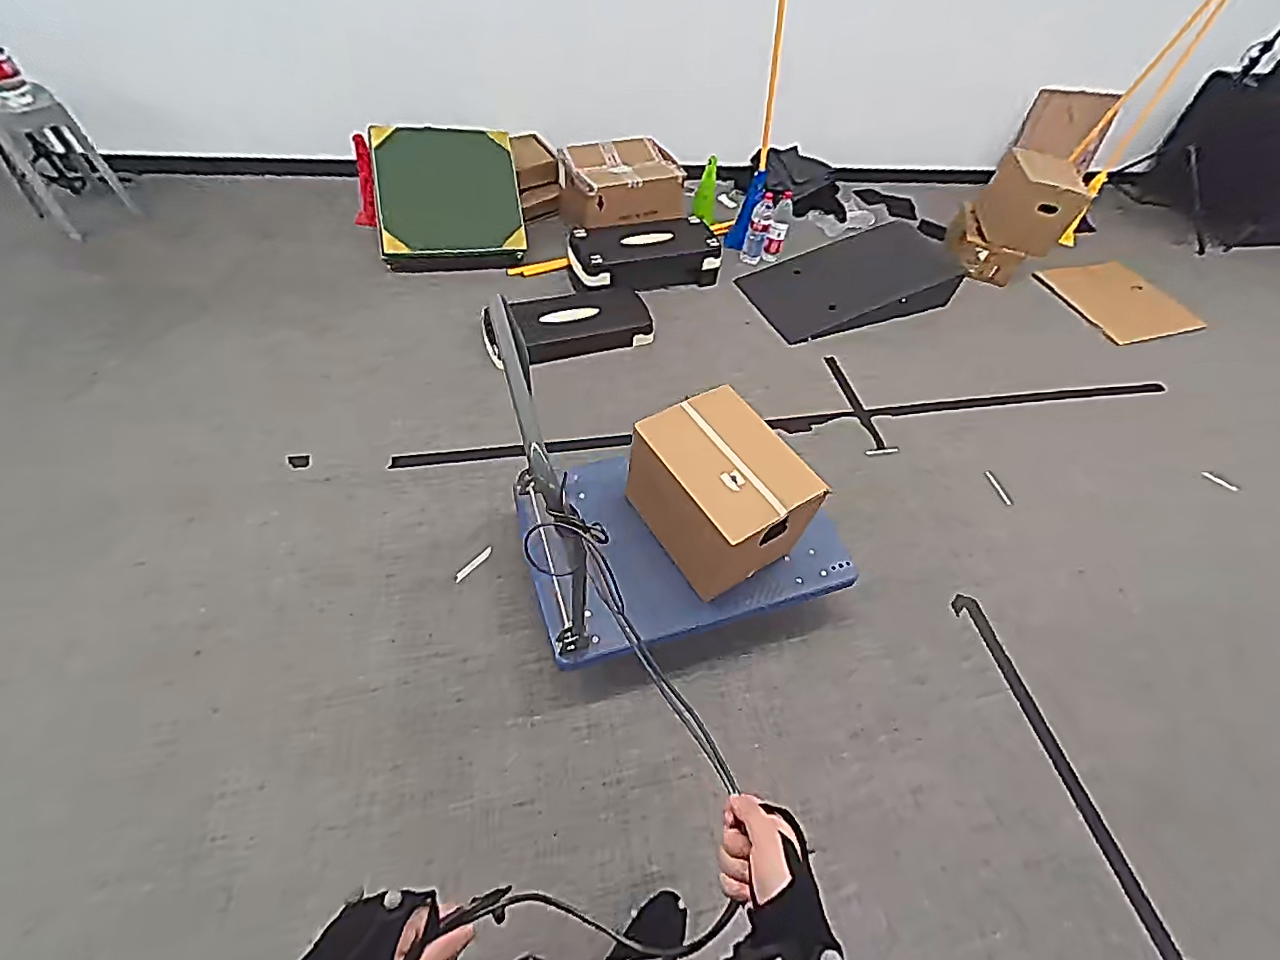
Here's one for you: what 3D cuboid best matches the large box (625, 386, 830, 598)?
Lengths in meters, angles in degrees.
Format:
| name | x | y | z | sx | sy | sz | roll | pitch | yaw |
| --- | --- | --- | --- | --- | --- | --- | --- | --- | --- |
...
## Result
| name | x | y | z | sx | sy | sz | roll | pitch | yaw |
| --- | --- | --- | --- | --- | --- | --- | --- | --- | --- |
| large box | 0.203 | 0.028 | 1.434 | 0.320 | 0.320 | 0.408 | -26 | 62 | -22 |
